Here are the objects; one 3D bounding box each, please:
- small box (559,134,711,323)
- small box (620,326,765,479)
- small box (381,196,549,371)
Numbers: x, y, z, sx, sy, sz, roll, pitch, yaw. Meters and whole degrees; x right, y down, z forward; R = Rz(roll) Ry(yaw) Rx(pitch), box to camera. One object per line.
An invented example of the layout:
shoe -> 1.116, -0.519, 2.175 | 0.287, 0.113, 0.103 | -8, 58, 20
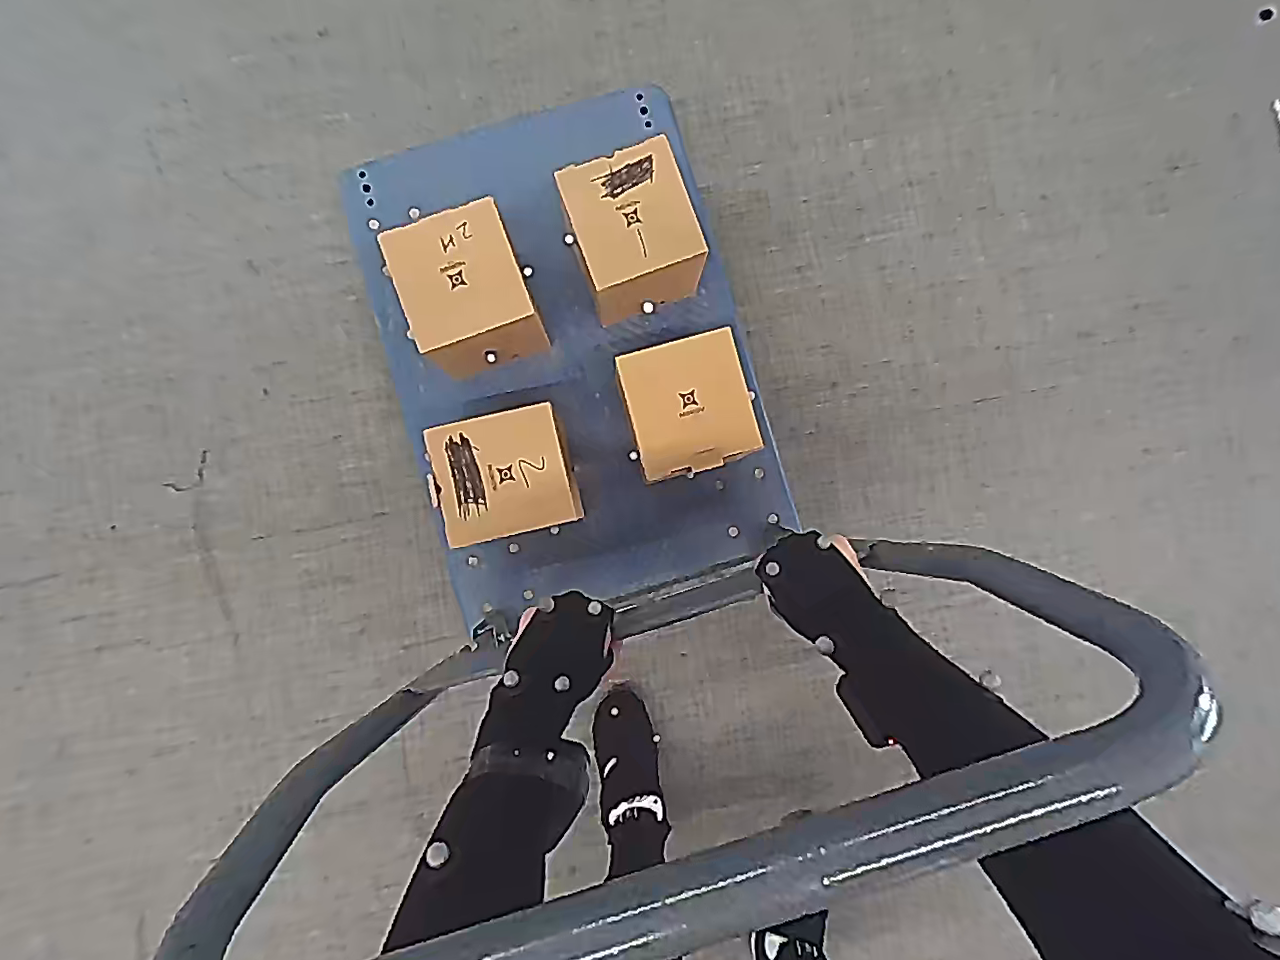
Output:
small box -> -0.009, -0.364, 0.812 | 0.168, 0.176, 0.179 | -20, 90, -1
small box -> 0.068, -0.104, 0.809 | 0.168, 0.176, 0.179 | -15, 89, -2
small box -> -0.245, -0.275, 0.805 | 0.168, 0.176, 0.179 | -20, 89, -2
